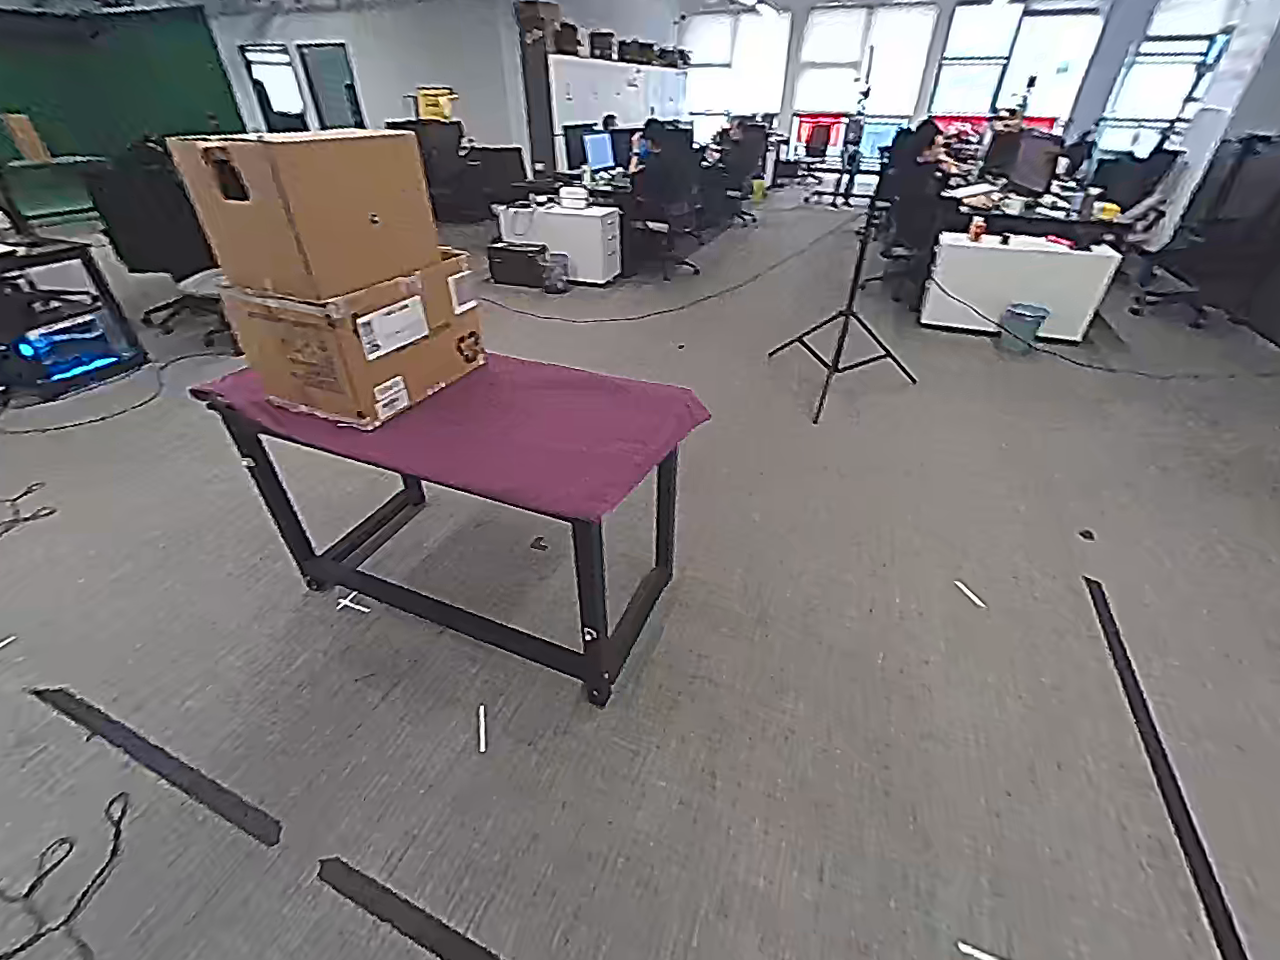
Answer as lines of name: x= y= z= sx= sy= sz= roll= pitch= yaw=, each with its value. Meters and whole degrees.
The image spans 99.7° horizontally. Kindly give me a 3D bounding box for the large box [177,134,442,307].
large box: x=-0.758 y=-0.646 z=1.317 sx=0.320 sy=0.320 sz=0.408 roll=12 pitch=37 yaw=19
